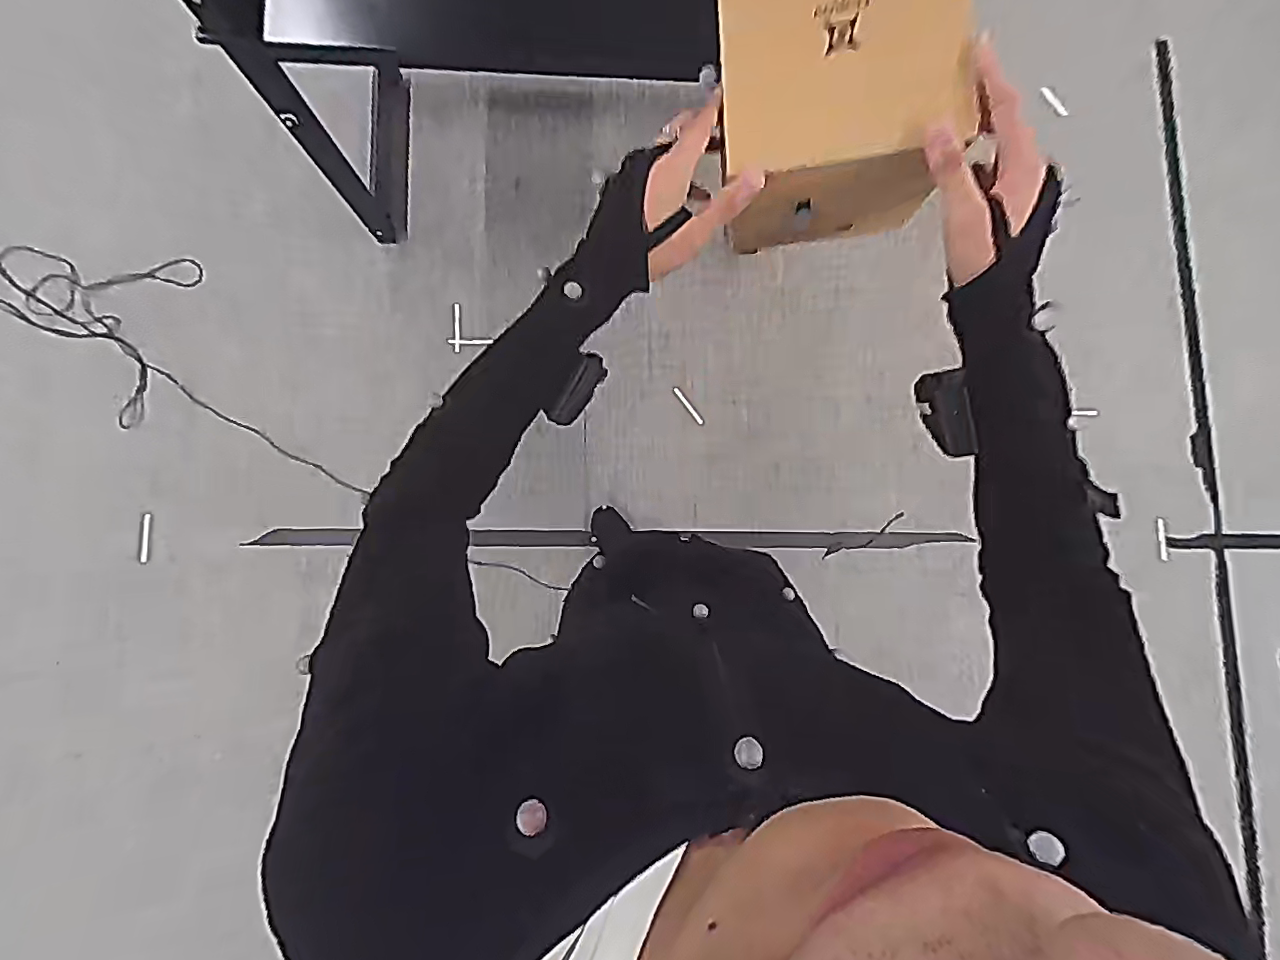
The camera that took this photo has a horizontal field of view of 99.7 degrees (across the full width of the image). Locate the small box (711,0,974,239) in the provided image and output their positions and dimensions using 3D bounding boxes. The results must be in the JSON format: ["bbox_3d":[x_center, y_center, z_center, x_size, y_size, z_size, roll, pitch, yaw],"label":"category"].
[{"bbox_3d":[0.147,-0.312,0.435,0.168,0.176,0.179,-3,93,11],"label":"small box"}]
